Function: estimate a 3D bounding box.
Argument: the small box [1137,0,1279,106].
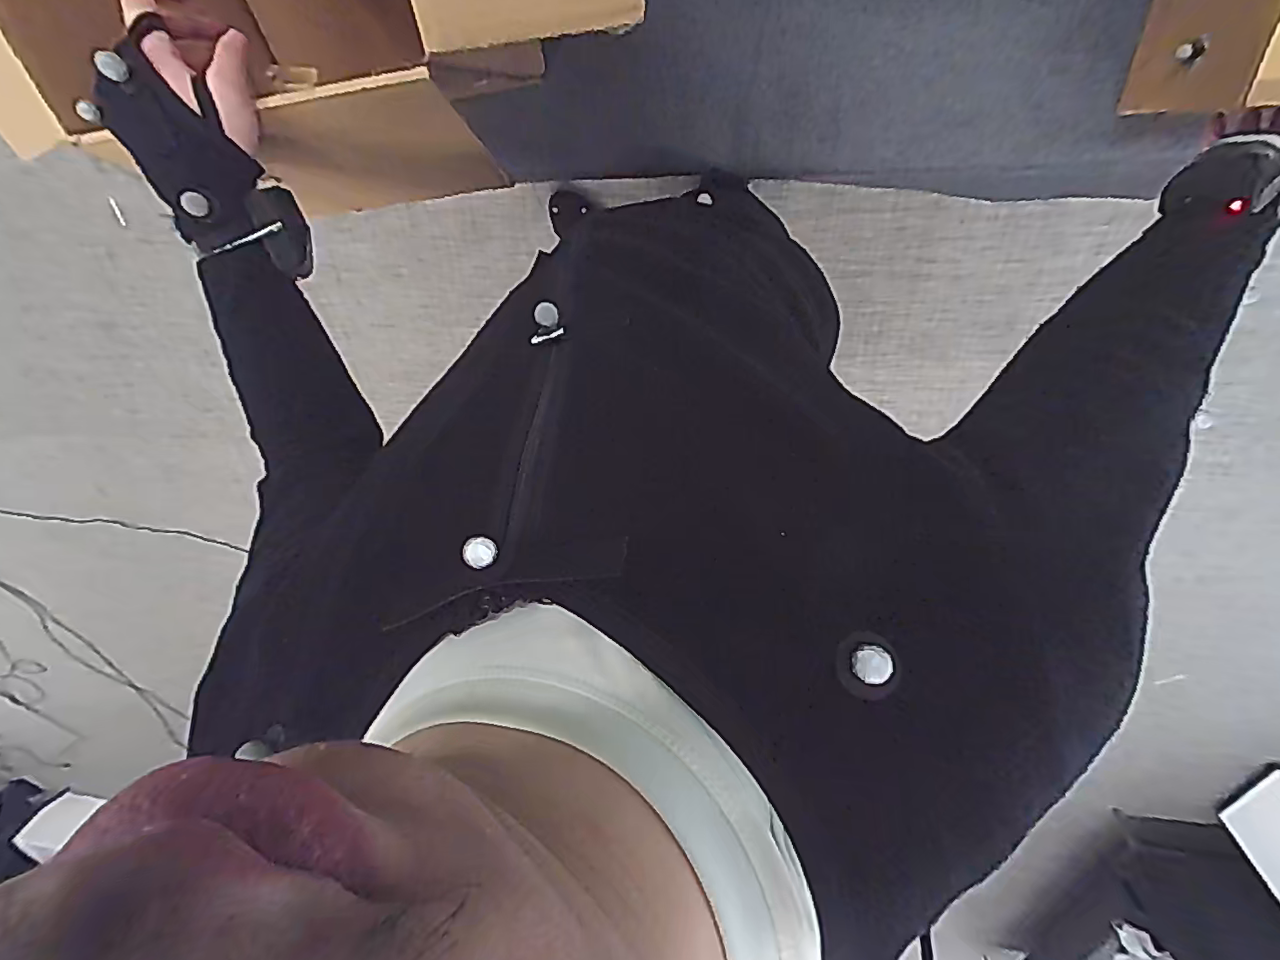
[{"bbox_3d":[0.564,-0.416,0.436,0.168,0.176,0.179,-1,123,8],"label":"small box"}]
